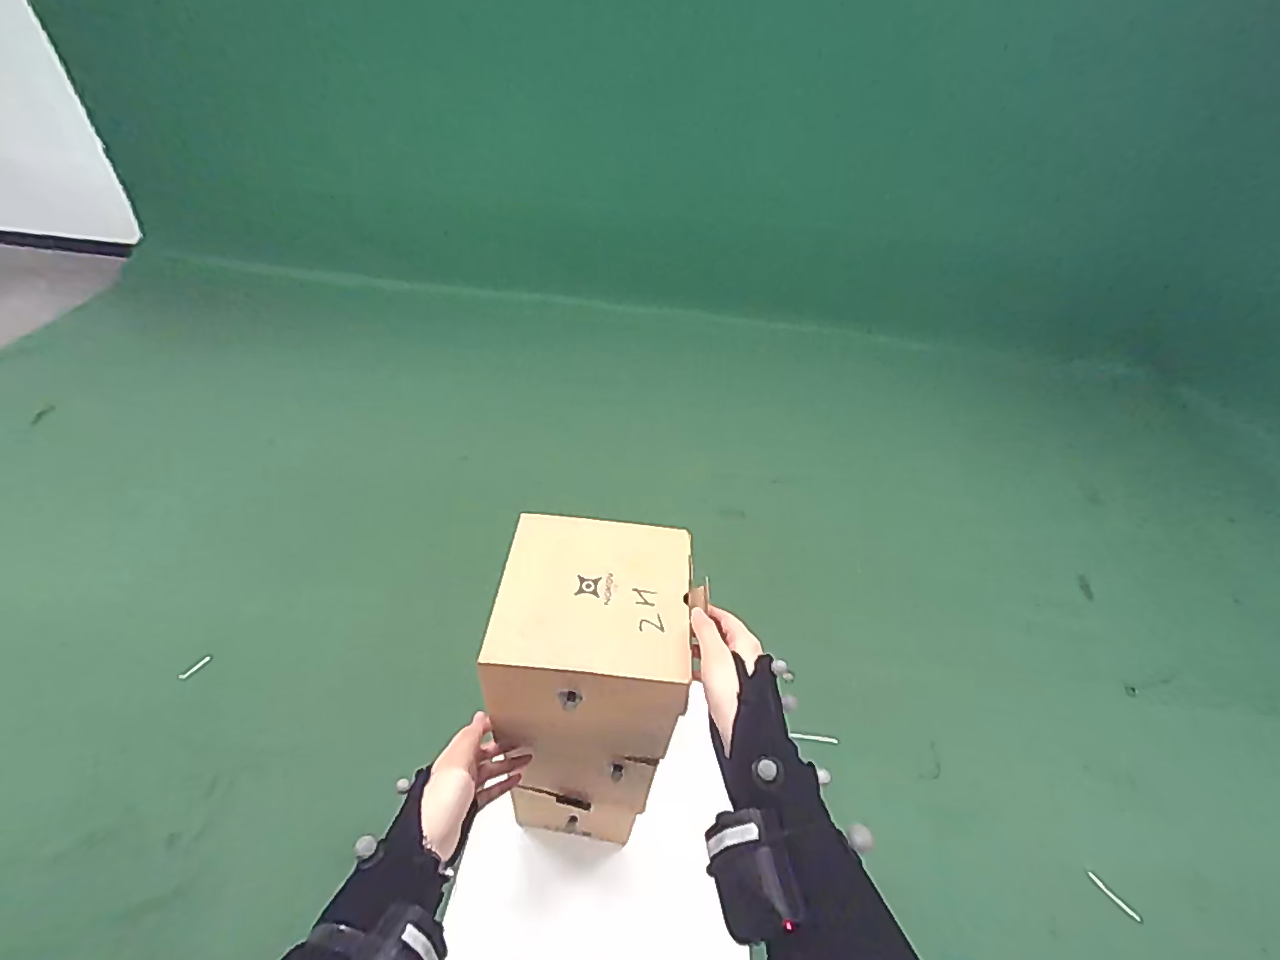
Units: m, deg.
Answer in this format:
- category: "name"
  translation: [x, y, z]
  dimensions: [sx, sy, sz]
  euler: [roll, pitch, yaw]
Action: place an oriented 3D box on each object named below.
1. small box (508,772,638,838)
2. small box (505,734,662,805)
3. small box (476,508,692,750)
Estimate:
- category: "small box"
  translation: [-0.076, 0.381, 0.768]
  dimensions: [0.168, 0.176, 0.179]
  euler: [10, 44, 2]
- category: "small box"
  translation: [-0.058, 0.266, 0.654]
  dimensions: [0.179, 0.176, 0.168]
  euler: [12, 43, 3]
- category: "small box"
  translation: [-0.047, 0.151, 0.538]
  dimensions: [0.179, 0.176, 0.168]
  euler: [6, 44, -2]
